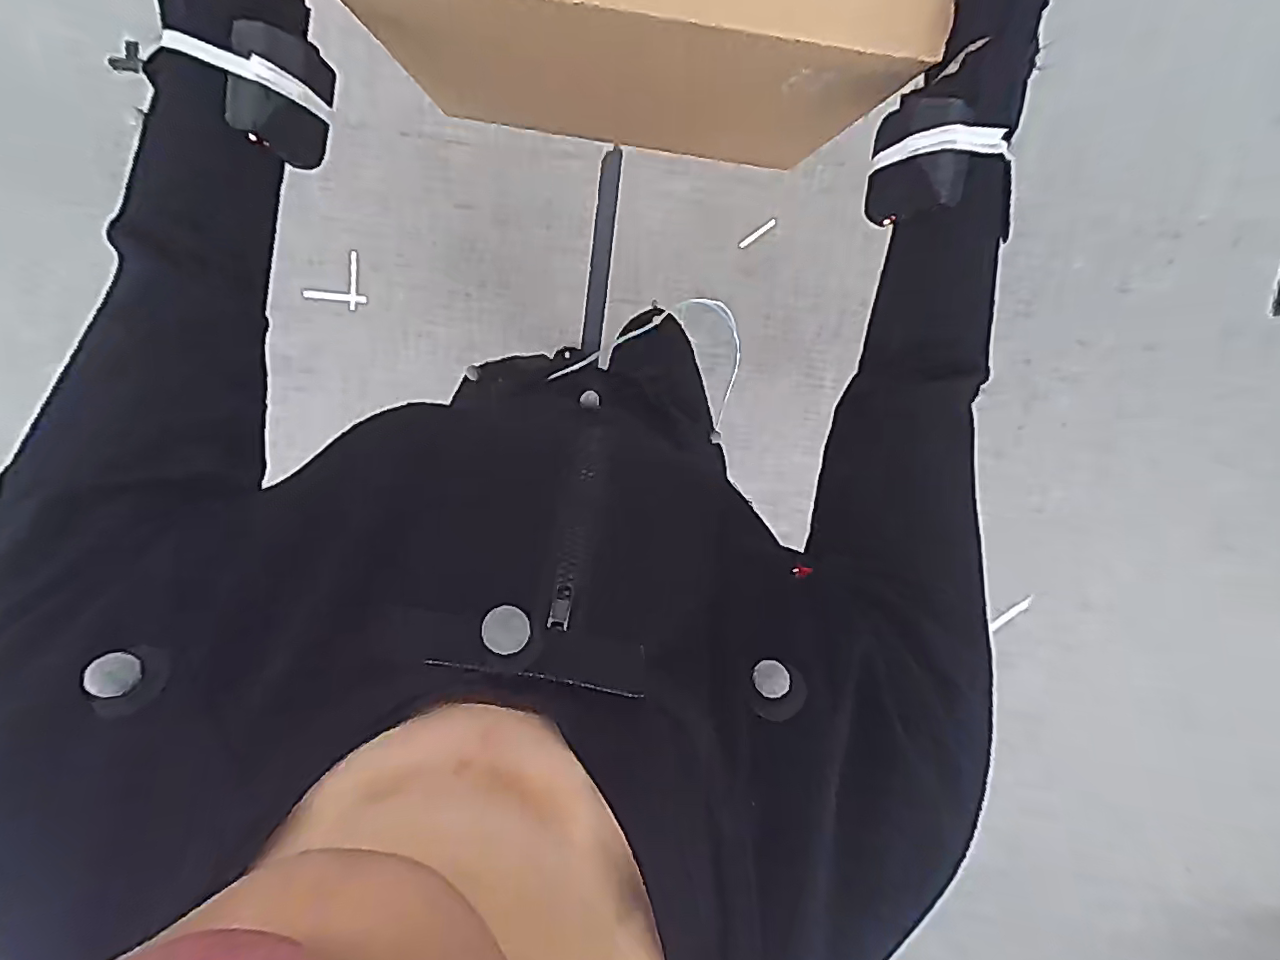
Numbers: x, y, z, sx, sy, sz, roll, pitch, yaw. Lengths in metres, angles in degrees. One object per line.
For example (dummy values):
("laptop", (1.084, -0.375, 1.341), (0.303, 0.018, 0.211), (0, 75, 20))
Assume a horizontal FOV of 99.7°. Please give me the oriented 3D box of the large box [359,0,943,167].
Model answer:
("large box", (0.006, -0.489, 0.445), (0.408, 0.320, 0.320), (6, 108, -5))
